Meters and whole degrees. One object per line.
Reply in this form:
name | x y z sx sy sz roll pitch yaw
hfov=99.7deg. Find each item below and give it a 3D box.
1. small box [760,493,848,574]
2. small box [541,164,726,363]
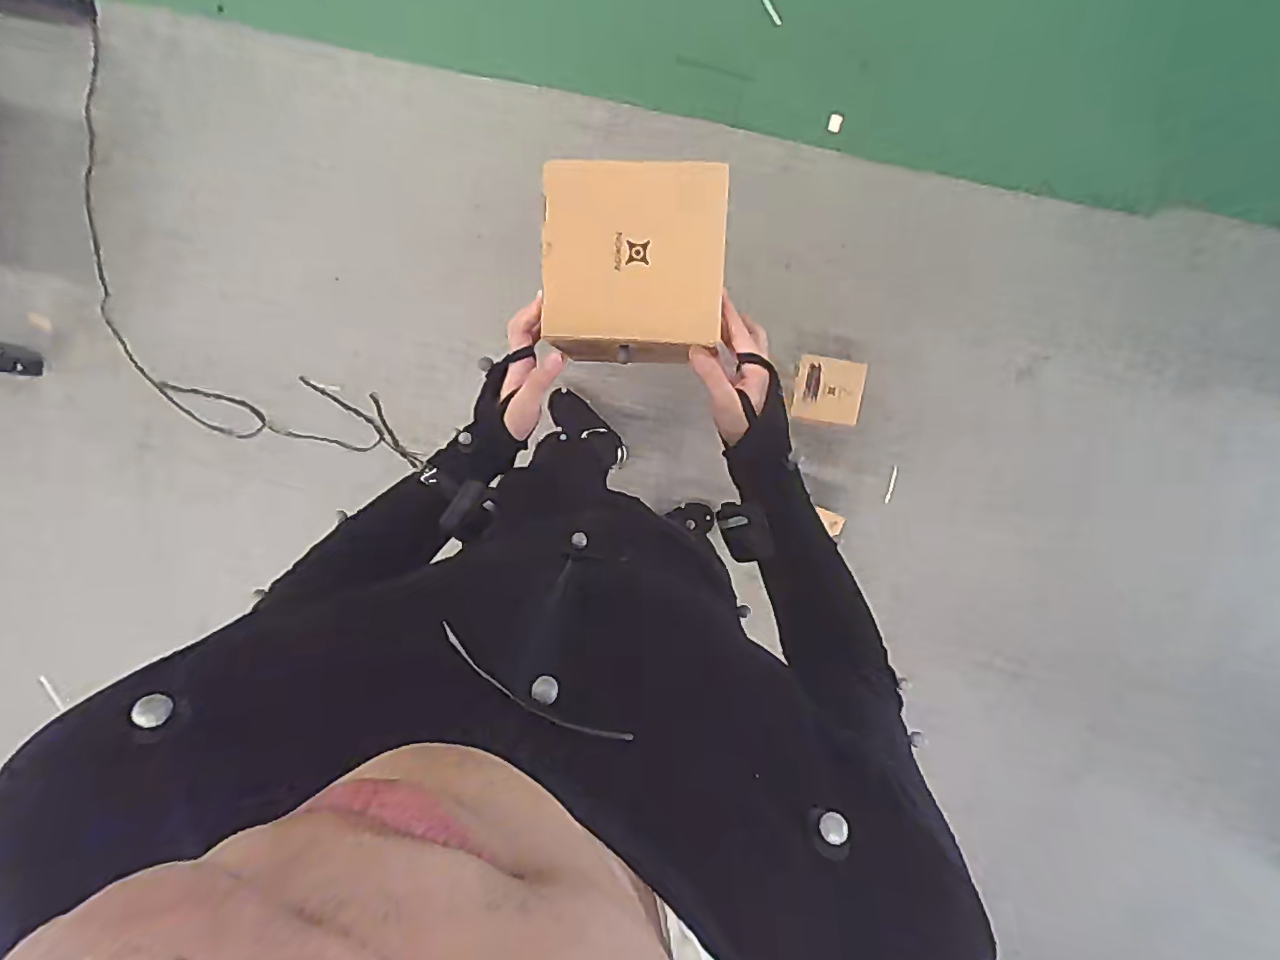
small box | 0.450 0.142 1.518 0.179 0.176 0.168 22 95 4
small box | -0.002 -0.222 0.595 0.179 0.176 0.168 2 95 5
